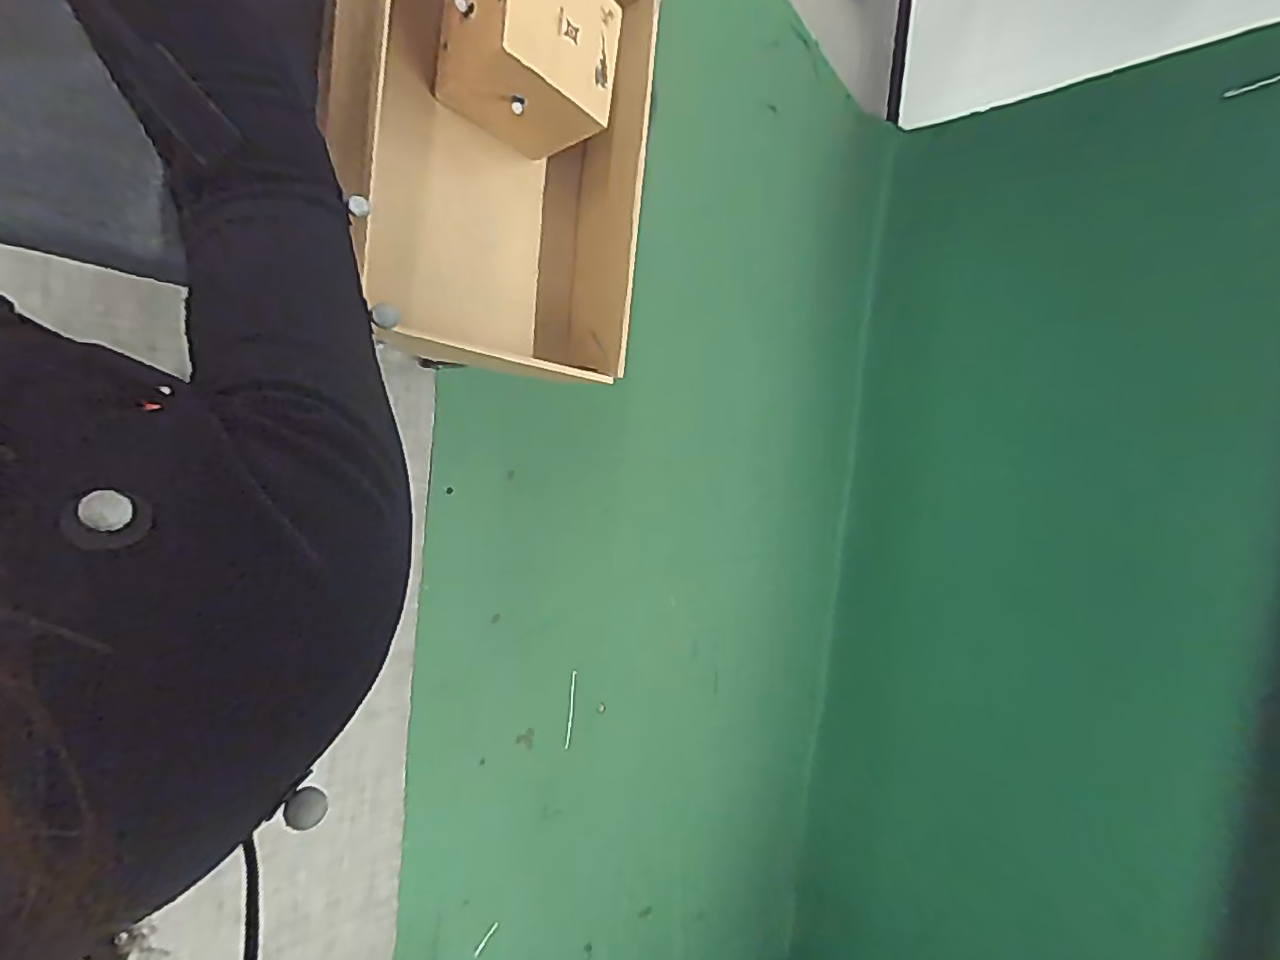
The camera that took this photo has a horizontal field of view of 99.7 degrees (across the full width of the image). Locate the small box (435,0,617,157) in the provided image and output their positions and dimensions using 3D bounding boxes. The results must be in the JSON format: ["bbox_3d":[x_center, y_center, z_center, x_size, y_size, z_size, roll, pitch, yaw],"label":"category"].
[{"bbox_3d":[-0.159,-0.581,0.743,0.179,0.176,0.168,6,93,-46],"label":"small box"}]
